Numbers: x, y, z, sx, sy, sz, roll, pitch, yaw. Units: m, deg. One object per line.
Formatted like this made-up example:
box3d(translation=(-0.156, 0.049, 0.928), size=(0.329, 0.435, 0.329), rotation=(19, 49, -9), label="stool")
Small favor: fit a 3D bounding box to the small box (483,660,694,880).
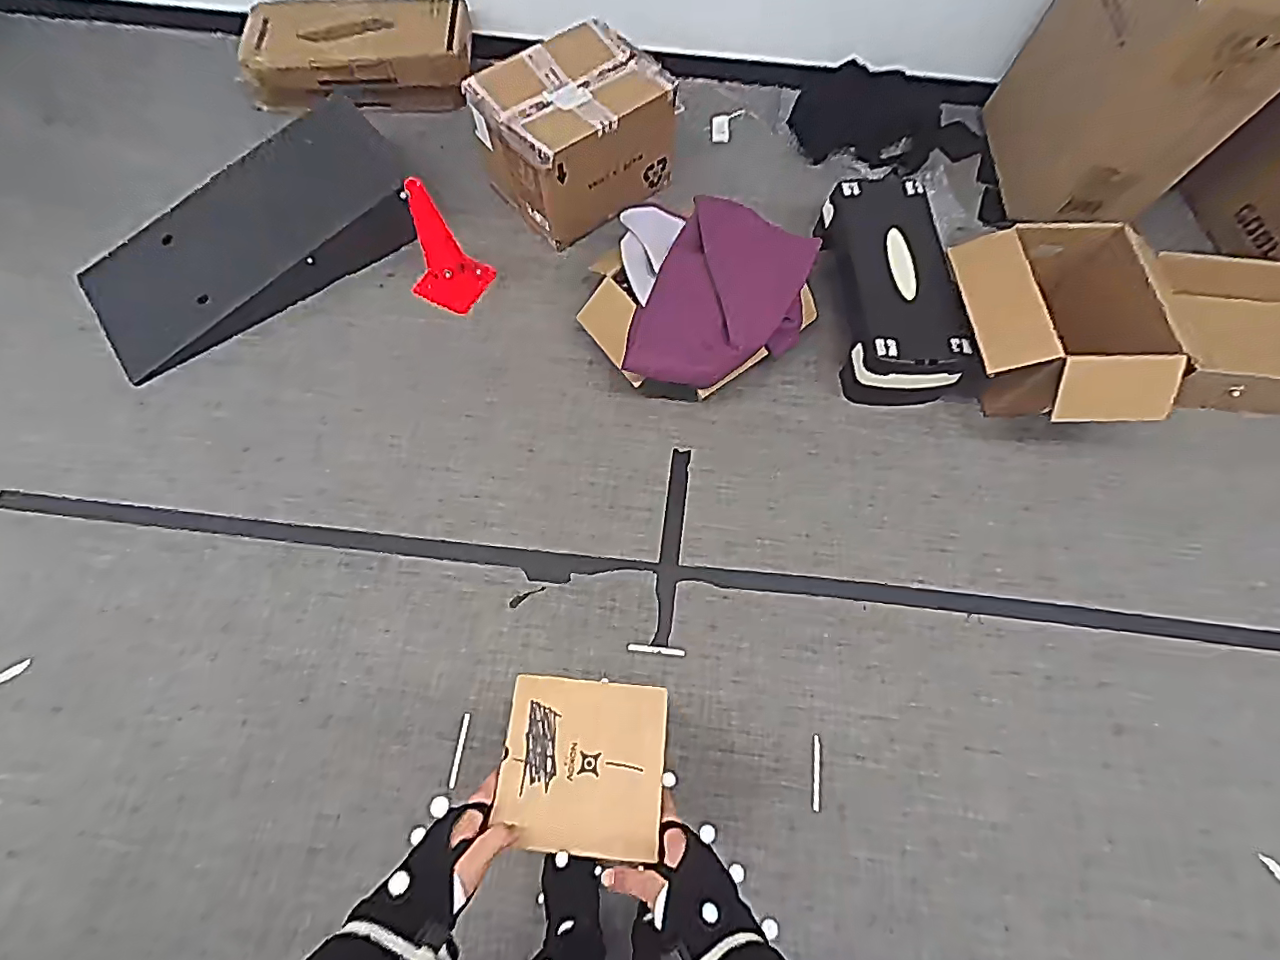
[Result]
box3d(translation=(-0.039, 0.293, 0.557), size=(0.179, 0.176, 0.168), rotation=(4, 61, 2), label="small box")
